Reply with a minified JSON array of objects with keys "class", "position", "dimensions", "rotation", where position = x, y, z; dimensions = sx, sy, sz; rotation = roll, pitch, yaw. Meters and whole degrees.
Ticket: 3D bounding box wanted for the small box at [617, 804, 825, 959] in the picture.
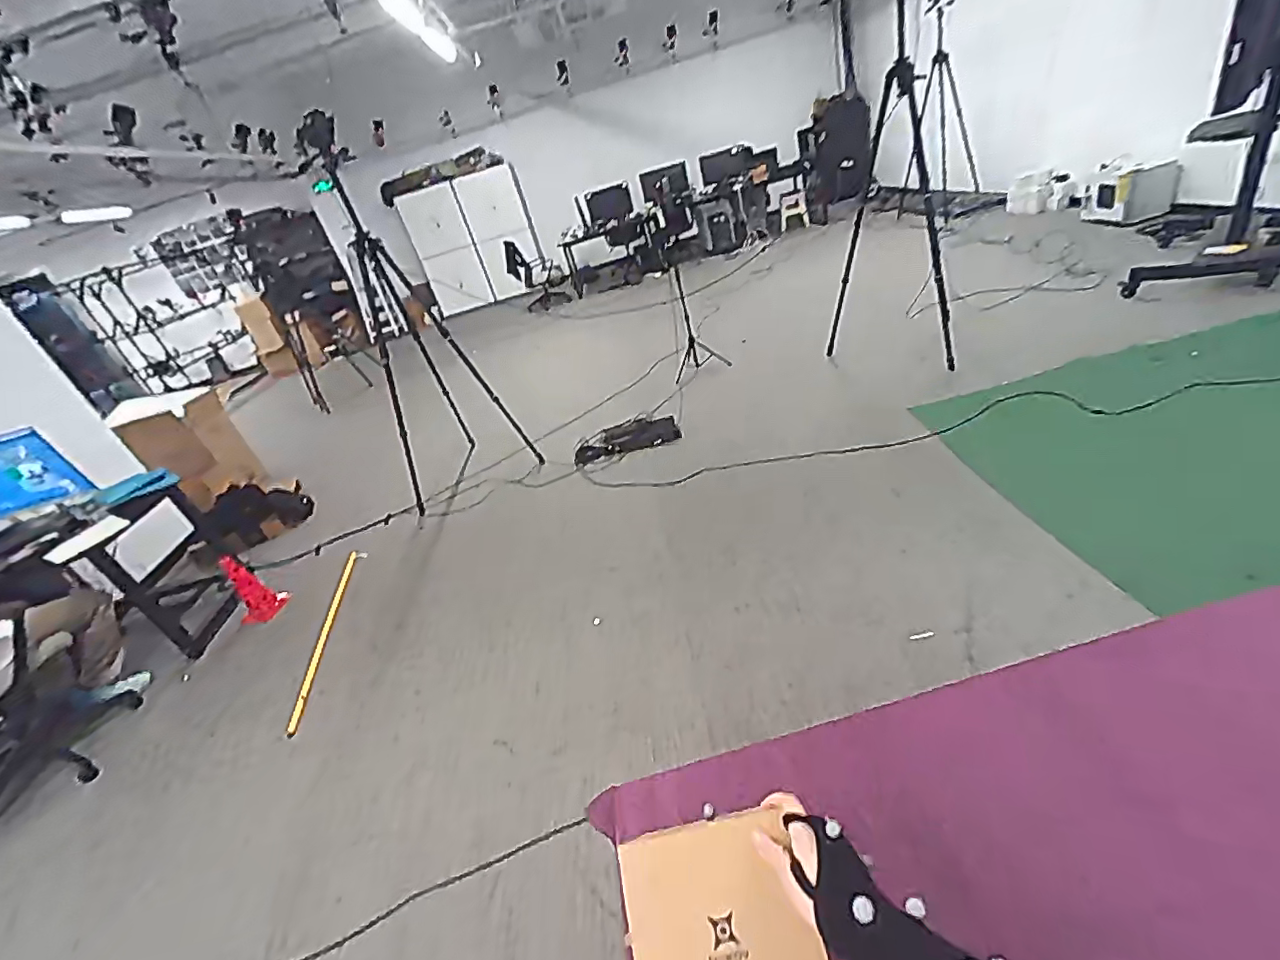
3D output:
[{"class":"small box","position":[0.085,0.439,0.539],"dimensions":[0.168,0.176,0.179],"rotation":[-16,60,3]}]
